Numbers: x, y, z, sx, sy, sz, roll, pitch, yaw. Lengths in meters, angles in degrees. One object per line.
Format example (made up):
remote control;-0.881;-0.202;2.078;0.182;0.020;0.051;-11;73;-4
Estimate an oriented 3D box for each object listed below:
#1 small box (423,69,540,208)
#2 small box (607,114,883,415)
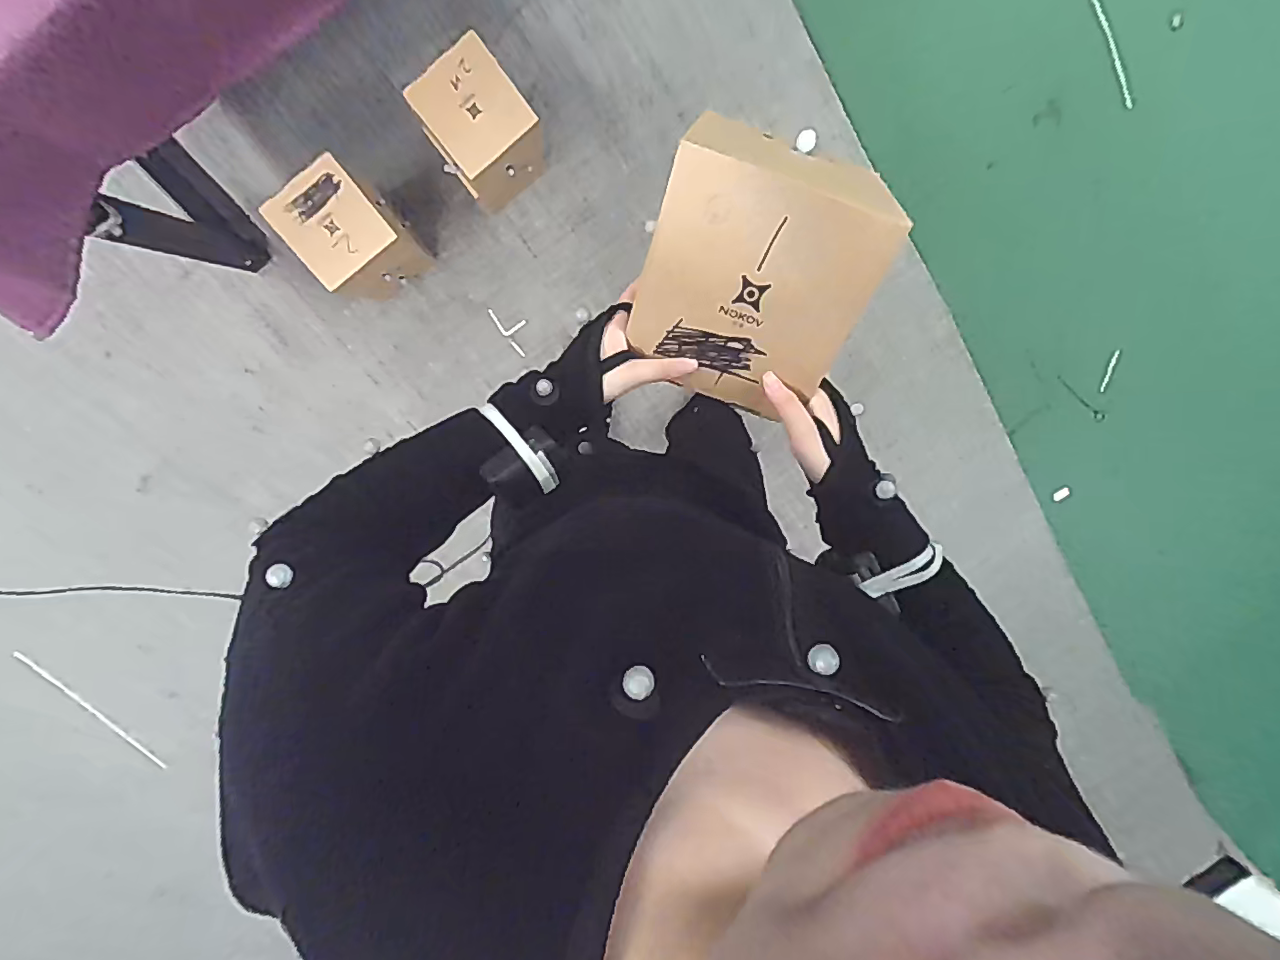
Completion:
small box;-0.335;-0.734;1.188;0.179;0.176;0.168;-37;106;4
small box;0.085;-0.193;0.480;0.168;0.176;0.179;19;130;-2
